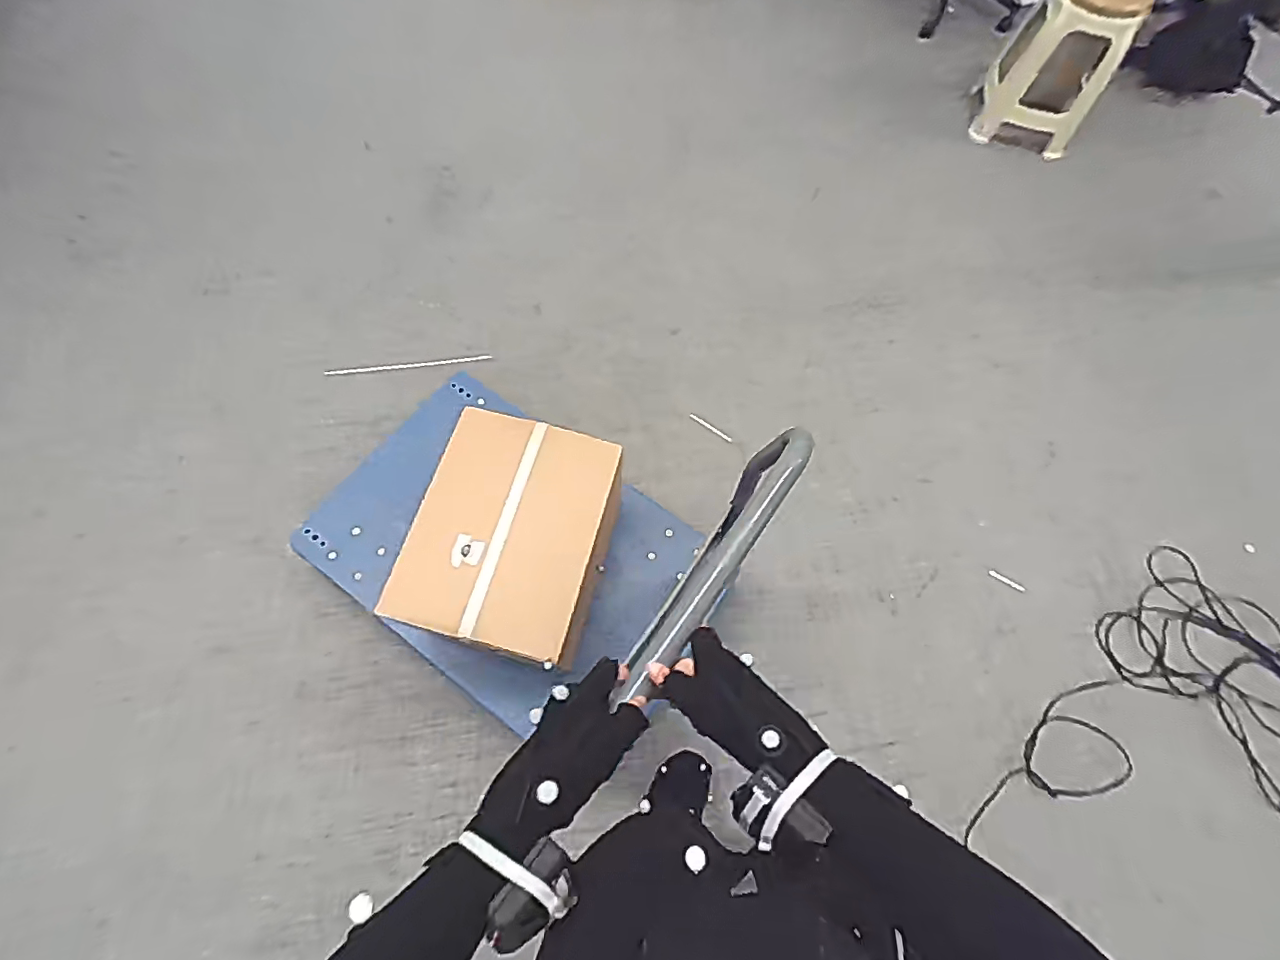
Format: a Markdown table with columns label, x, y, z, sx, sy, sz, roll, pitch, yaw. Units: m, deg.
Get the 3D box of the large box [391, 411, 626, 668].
| label | x | y | z | sx | sy | sz | roll | pitch | yaw |
| --- | --- | --- | --- | --- | --- | --- | --- | --- | --- |
| large box | -0.225 | 0.132 | 1.088 | 0.320 | 0.320 | 0.408 | 14 | 69 | 3 |
